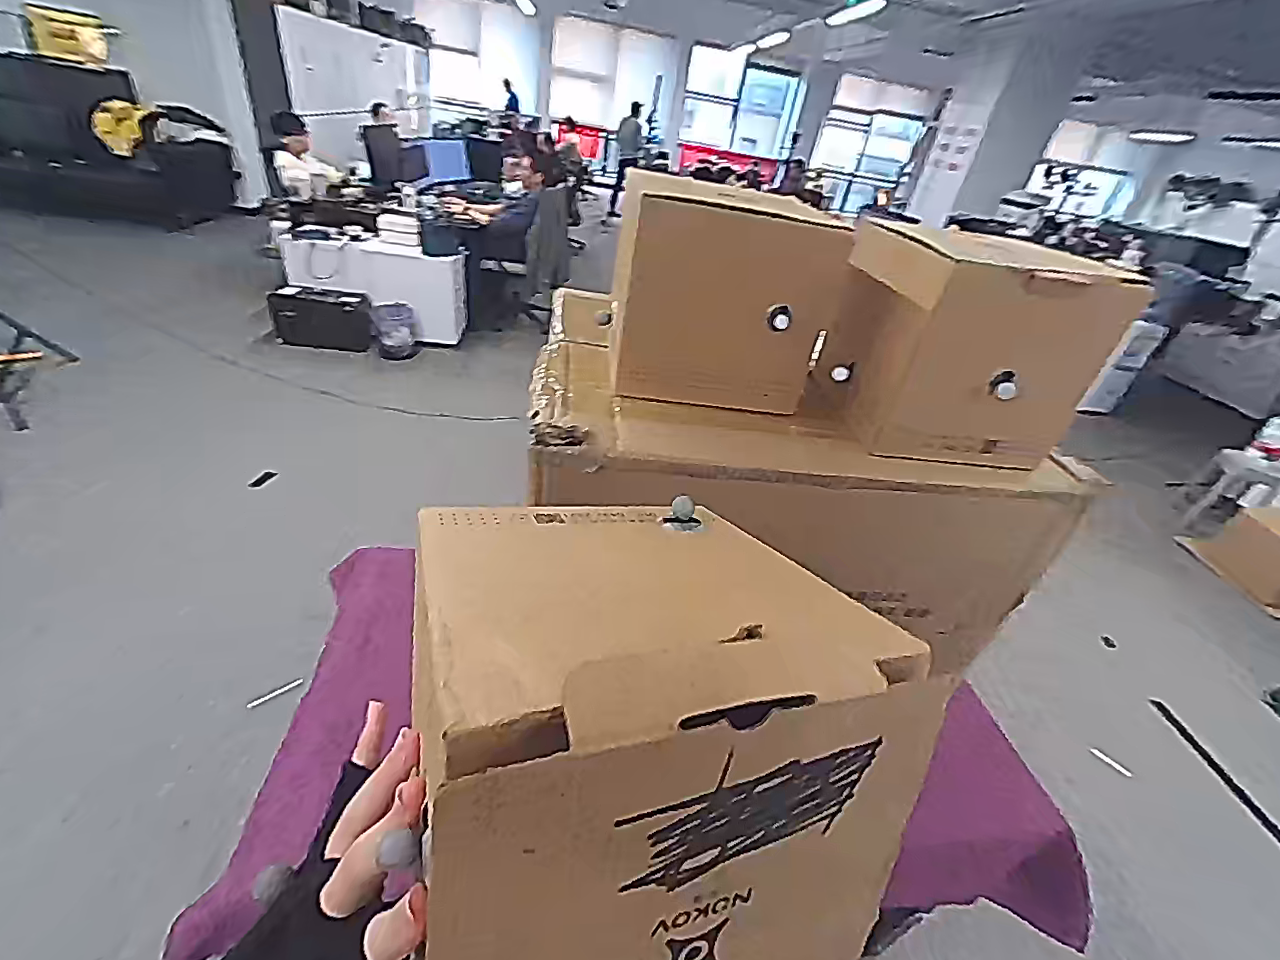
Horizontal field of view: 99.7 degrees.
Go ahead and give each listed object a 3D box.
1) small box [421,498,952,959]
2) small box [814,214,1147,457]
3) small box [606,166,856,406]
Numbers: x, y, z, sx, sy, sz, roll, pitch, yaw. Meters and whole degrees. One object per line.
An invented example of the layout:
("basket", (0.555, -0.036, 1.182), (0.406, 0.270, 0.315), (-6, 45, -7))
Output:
("small box", (-0.006, 0.110, 0.244), (0.168, 0.179, 0.176), (1, 14, -24))
("small box", (0.287, -0.136, 0.509), (0.168, 0.176, 0.179), (4, 34, -7))
("small box", (0.067, -0.183, 0.516), (0.179, 0.176, 0.168), (4, 34, -9))
